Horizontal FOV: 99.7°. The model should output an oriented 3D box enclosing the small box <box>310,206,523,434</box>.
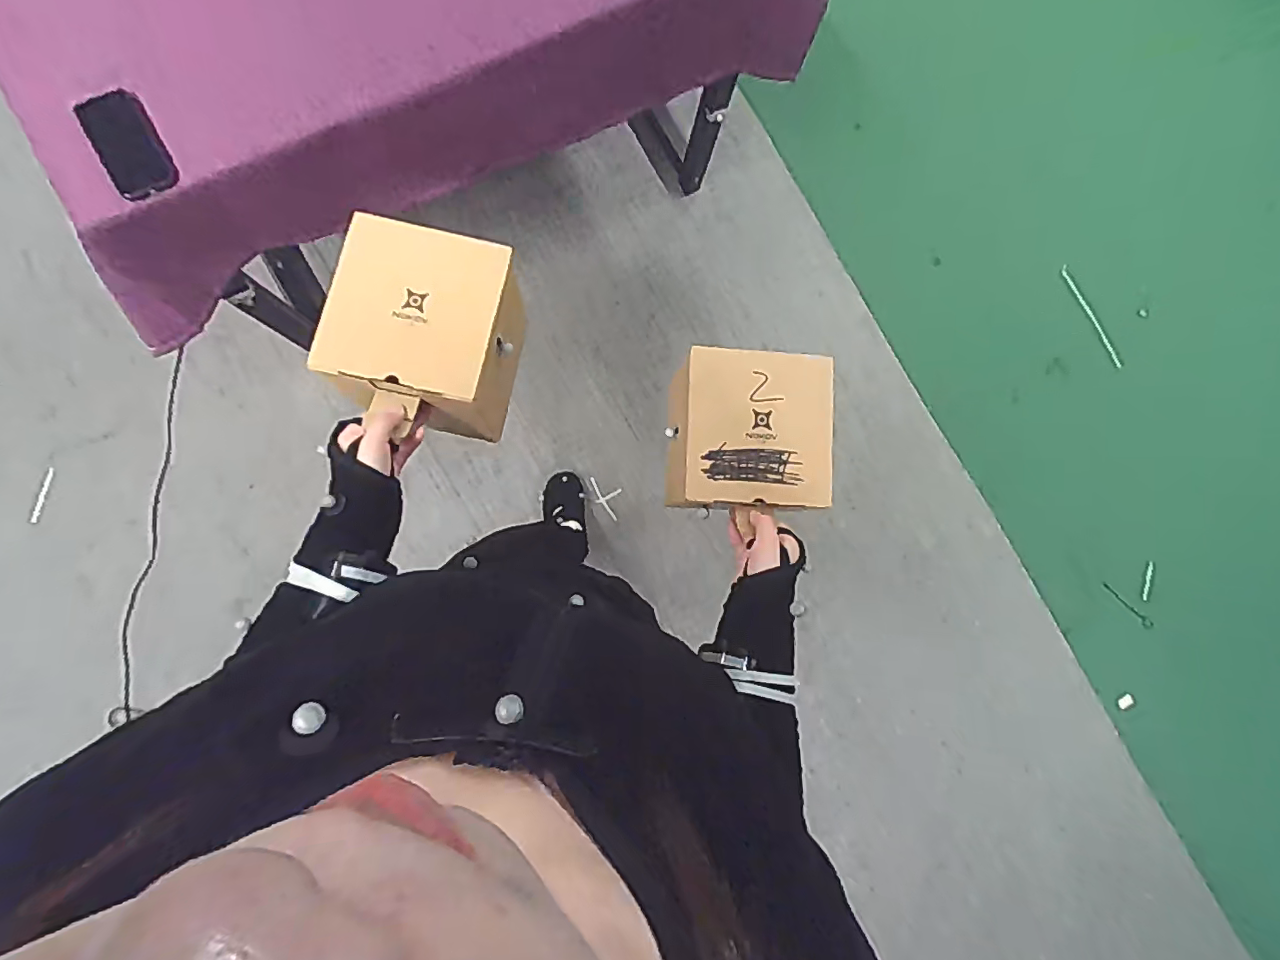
[{"bbox_3d":[-0.236,-0.169,0.624,0.168,0.176,0.179,12,80,-5],"label":"small box"}]
